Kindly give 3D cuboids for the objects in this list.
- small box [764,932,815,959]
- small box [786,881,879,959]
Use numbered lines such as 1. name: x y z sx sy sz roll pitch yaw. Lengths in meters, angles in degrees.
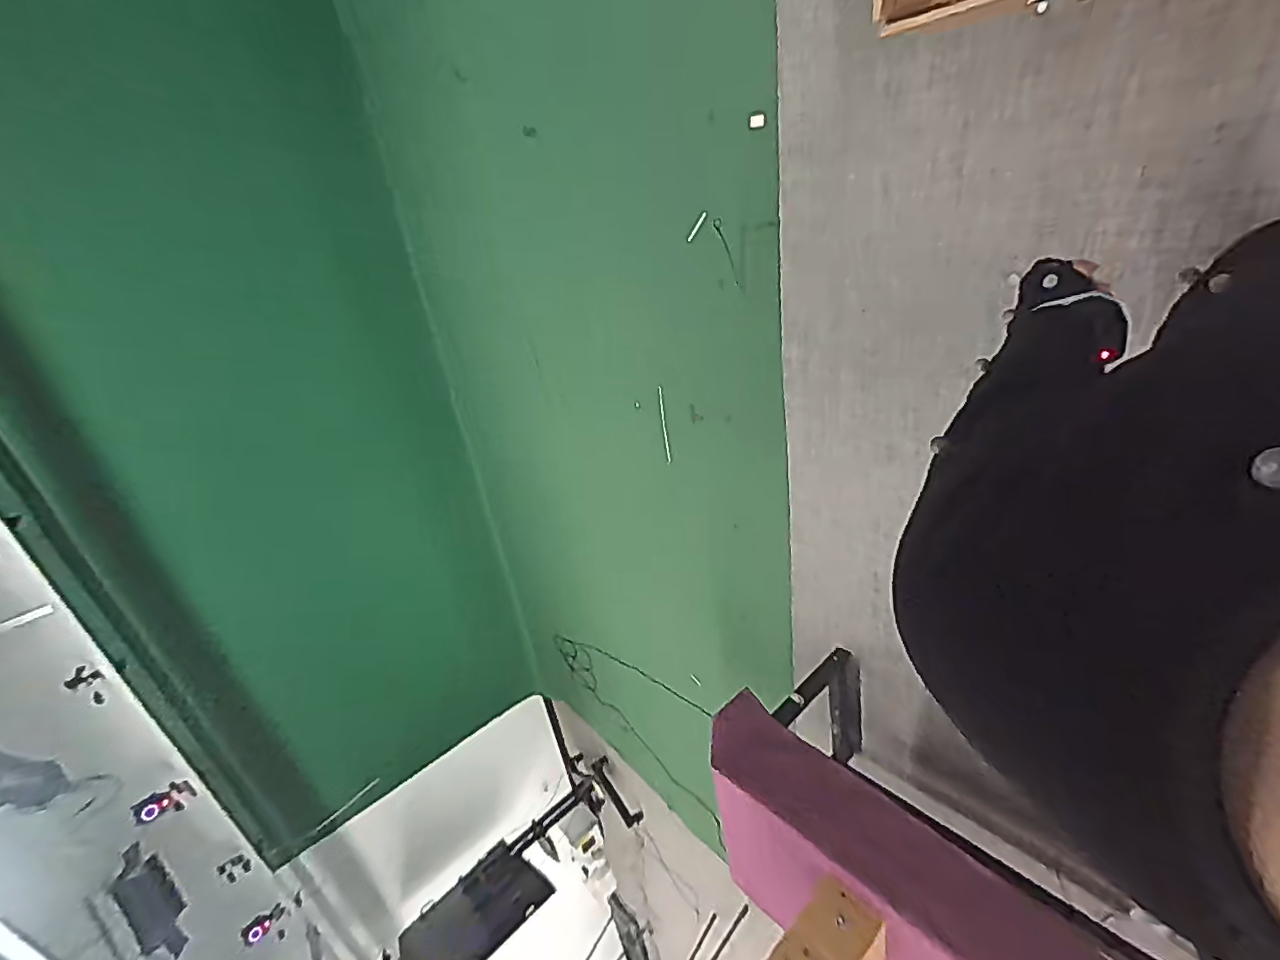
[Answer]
1. small box: 0.371 1.257 1.301 0.168 0.176 0.179 22 129 47
2. small box: 0.494 1.193 1.387 0.168 0.176 0.179 20 127 48
